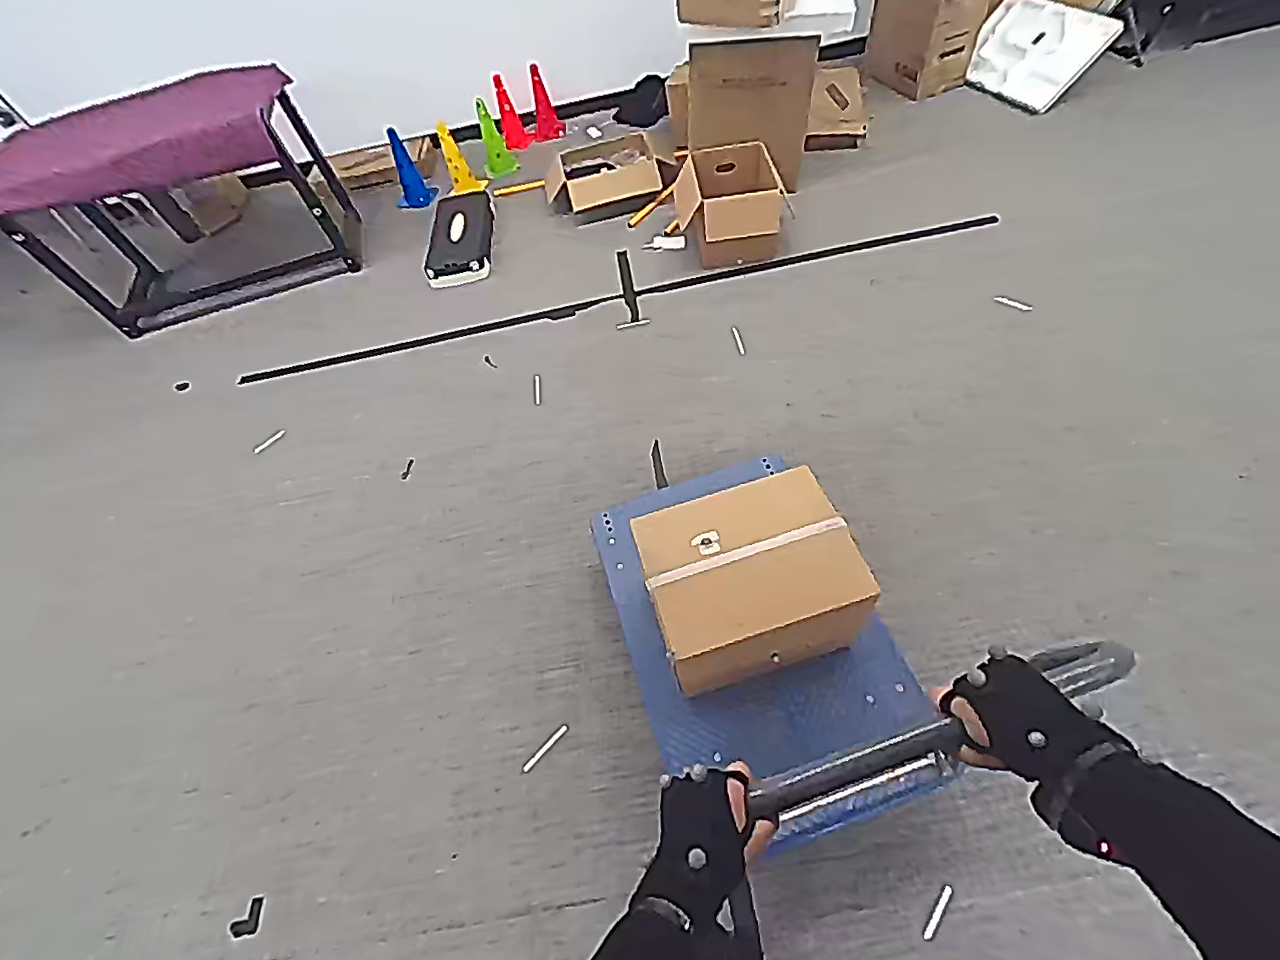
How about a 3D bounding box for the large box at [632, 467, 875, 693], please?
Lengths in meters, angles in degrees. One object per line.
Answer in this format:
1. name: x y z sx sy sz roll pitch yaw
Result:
1. large box: 0.234 0.232 1.206 0.408 0.320 0.320 -18 55 -2
